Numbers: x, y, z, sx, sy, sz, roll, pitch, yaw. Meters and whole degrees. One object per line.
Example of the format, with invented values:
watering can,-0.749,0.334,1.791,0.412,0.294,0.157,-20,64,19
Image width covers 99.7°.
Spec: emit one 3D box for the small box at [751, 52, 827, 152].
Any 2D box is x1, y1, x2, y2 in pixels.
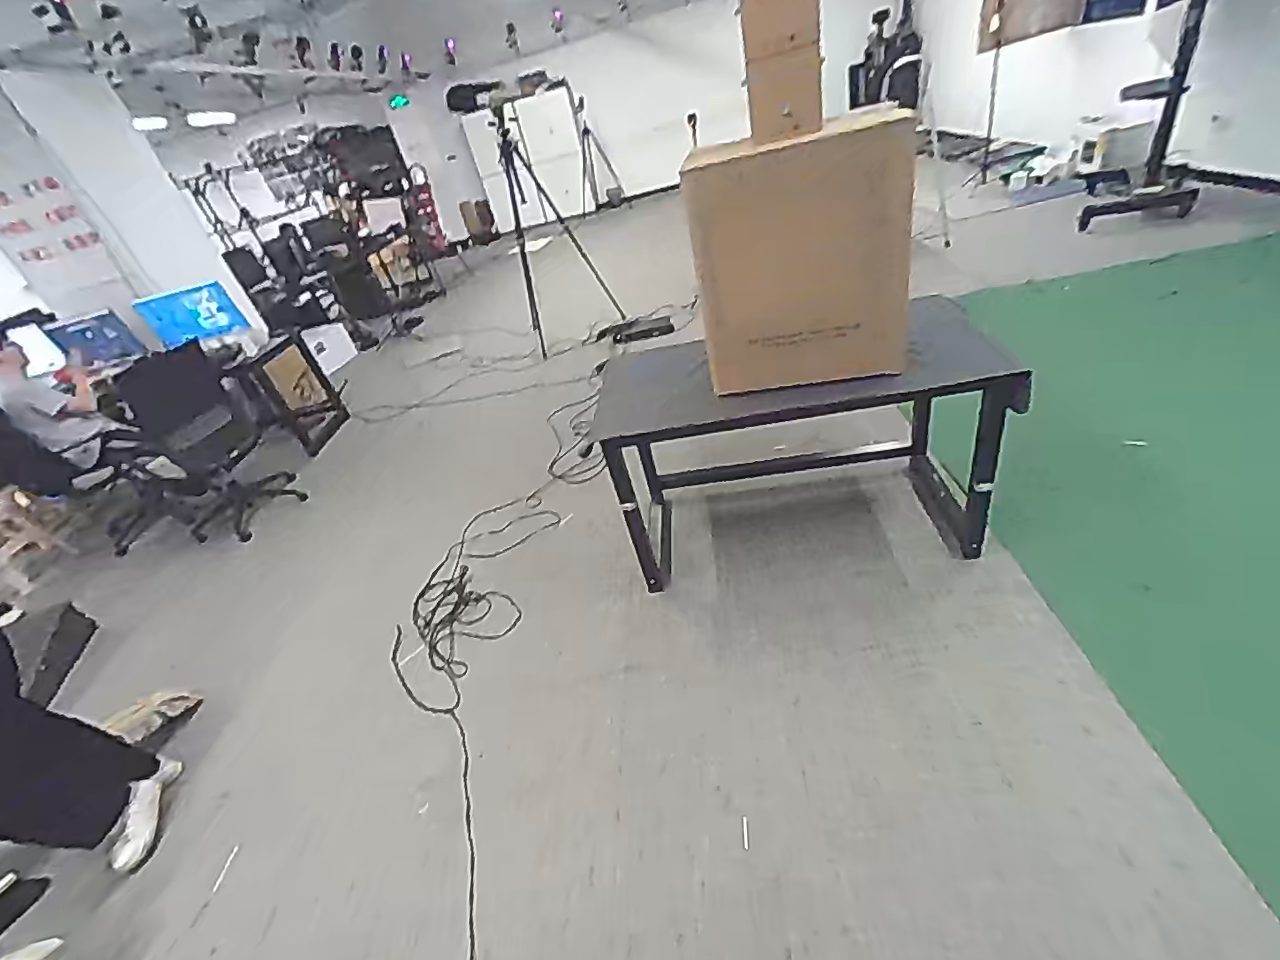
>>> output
small box,0.361,-0.915,1.314,0.168,0.176,0.179,-4,38,16
